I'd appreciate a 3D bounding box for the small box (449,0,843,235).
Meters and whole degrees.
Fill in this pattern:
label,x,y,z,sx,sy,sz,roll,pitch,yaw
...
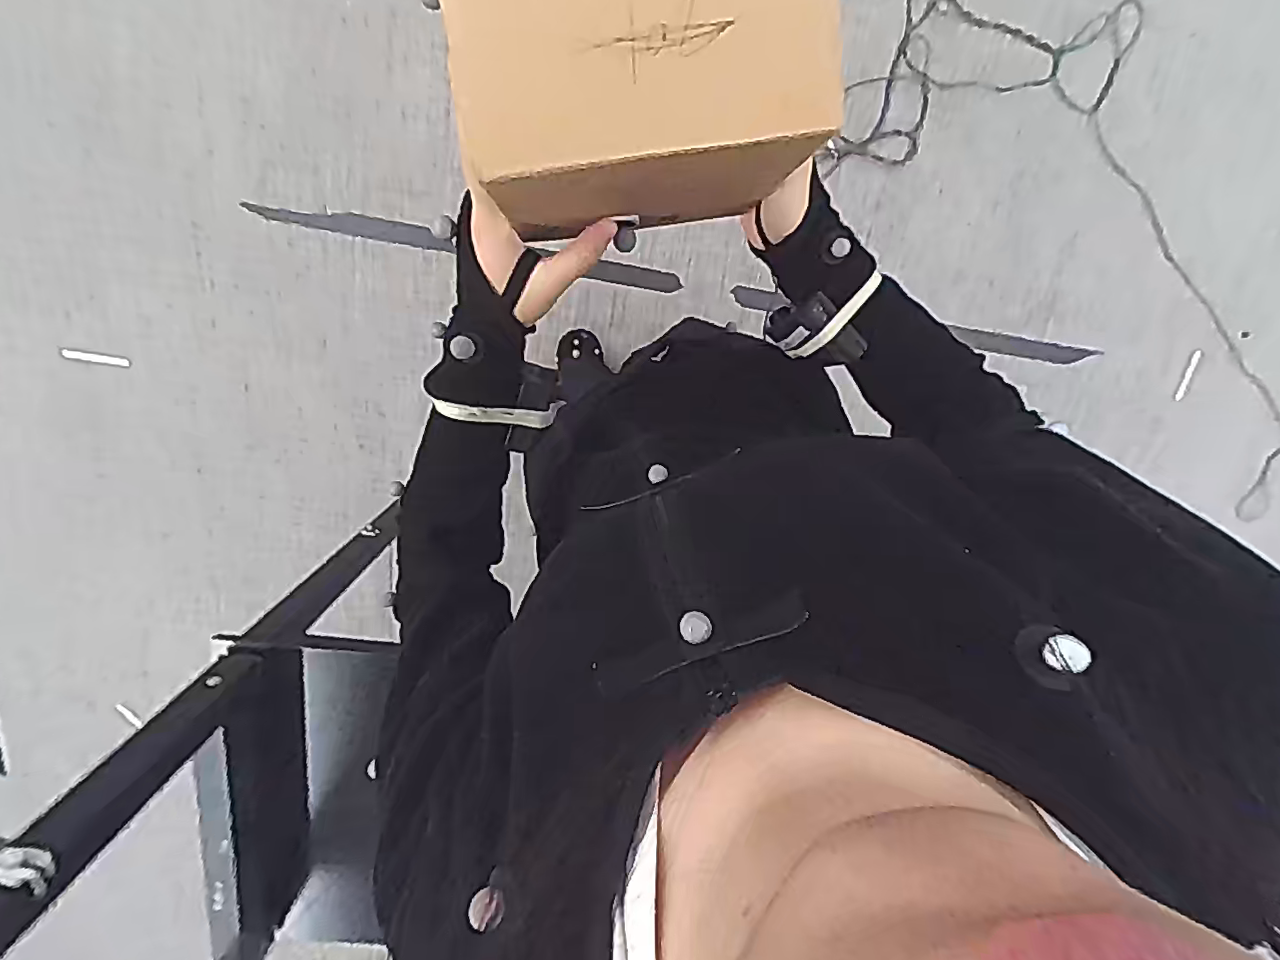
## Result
label,x,y,z,sx,sy,sz,roll,pitch,yaw
small box,-0.007,-0.249,0.293,0.168,0.176,0.179,-8,105,-2
